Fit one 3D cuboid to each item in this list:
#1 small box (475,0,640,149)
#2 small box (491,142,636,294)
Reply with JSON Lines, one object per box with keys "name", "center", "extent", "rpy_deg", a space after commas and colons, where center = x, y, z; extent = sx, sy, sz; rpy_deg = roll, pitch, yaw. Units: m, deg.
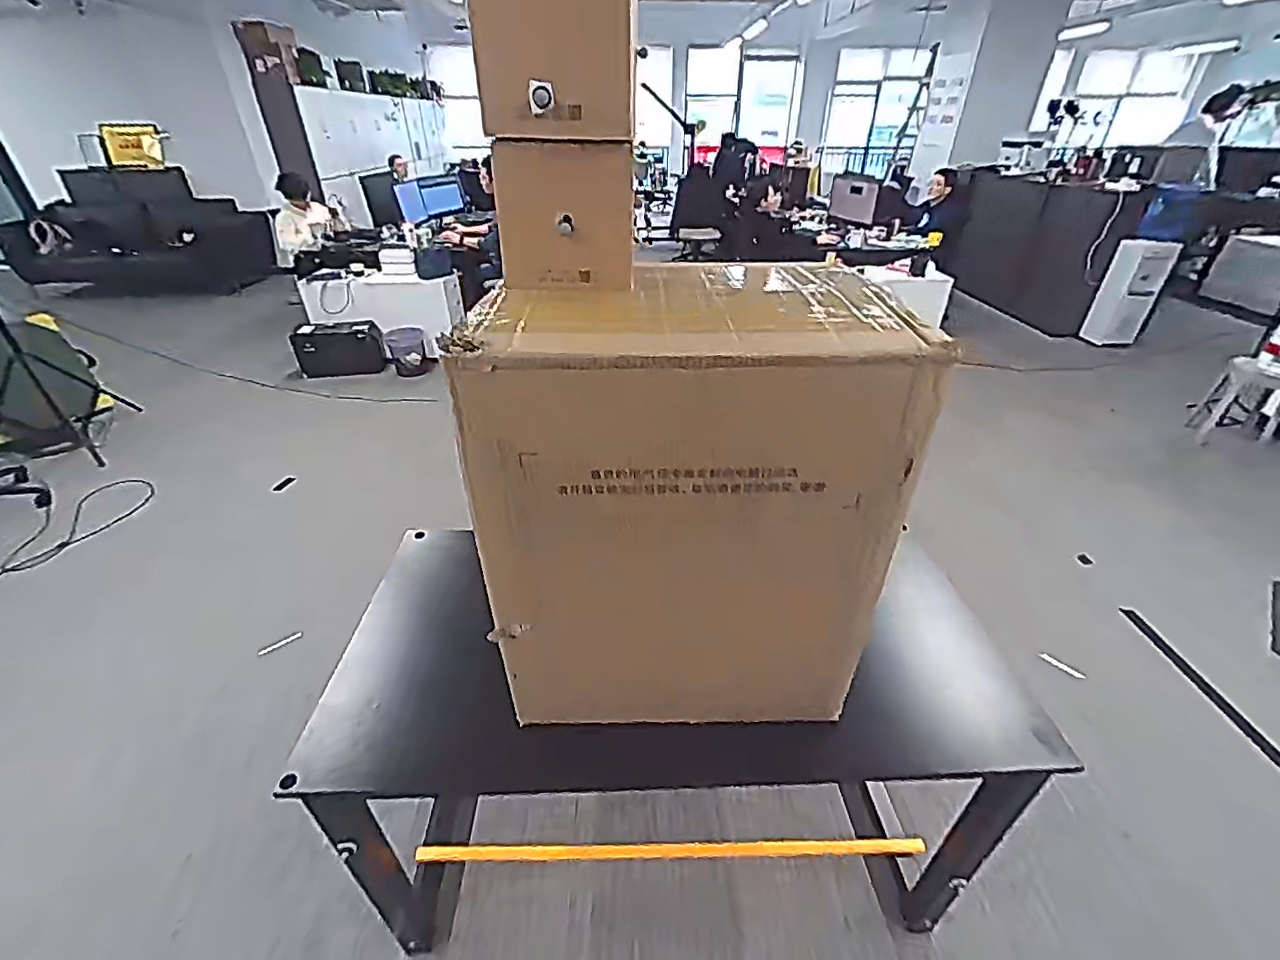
{"name": "small box", "center": [-0.084, -0.481, 0.617], "extent": [0.168, 0.176, 0.179], "rpy_deg": [0, 33, 1]}
{"name": "small box", "center": [-0.089, -0.352, 0.719], "extent": [0.168, 0.176, 0.179], "rpy_deg": [0, 33, -2]}
